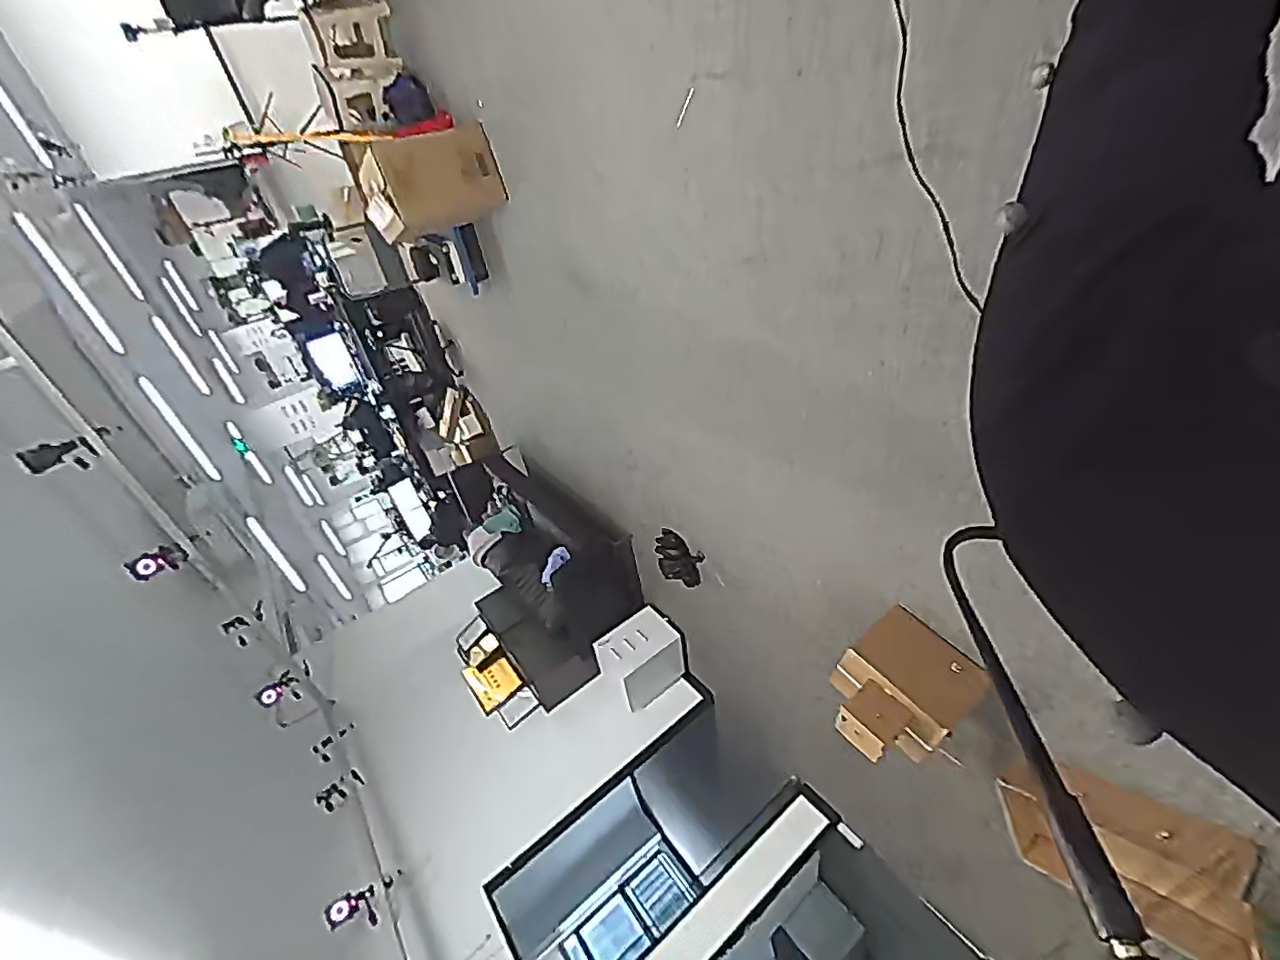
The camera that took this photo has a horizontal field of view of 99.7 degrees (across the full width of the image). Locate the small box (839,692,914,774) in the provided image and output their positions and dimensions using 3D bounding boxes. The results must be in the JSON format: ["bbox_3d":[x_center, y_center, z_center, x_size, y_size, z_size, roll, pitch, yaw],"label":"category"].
[{"bbox_3d":[0.853,0.908,1.950,0.179,0.176,0.168,38,146,39],"label":"small box"}]
